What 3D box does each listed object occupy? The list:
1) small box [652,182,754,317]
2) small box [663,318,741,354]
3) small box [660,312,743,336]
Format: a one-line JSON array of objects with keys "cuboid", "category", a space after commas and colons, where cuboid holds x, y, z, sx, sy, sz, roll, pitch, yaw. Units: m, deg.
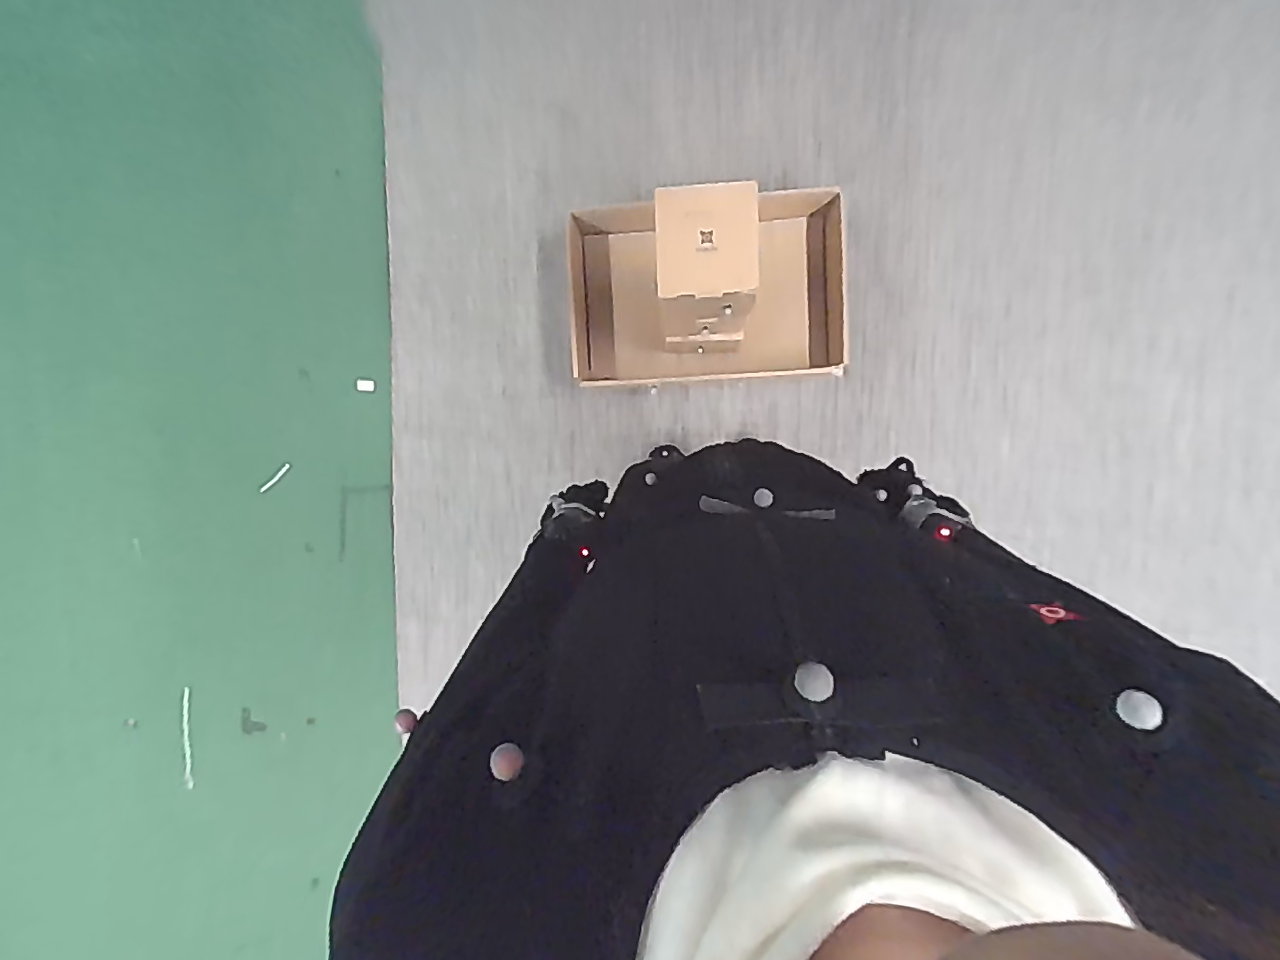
[{"cuboid": [0.109, -0.390, 0.949, 0.168, 0.176, 0.179, -2, 93, 4], "category": "small box"}, {"cuboid": [0.146, -0.399, 1.289, 0.179, 0.176, 0.168, 1, 93, 6], "category": "small box"}, {"cuboid": [0.125, -0.404, 1.130, 0.168, 0.176, 0.179, -4, 93, 6], "category": "small box"}]
